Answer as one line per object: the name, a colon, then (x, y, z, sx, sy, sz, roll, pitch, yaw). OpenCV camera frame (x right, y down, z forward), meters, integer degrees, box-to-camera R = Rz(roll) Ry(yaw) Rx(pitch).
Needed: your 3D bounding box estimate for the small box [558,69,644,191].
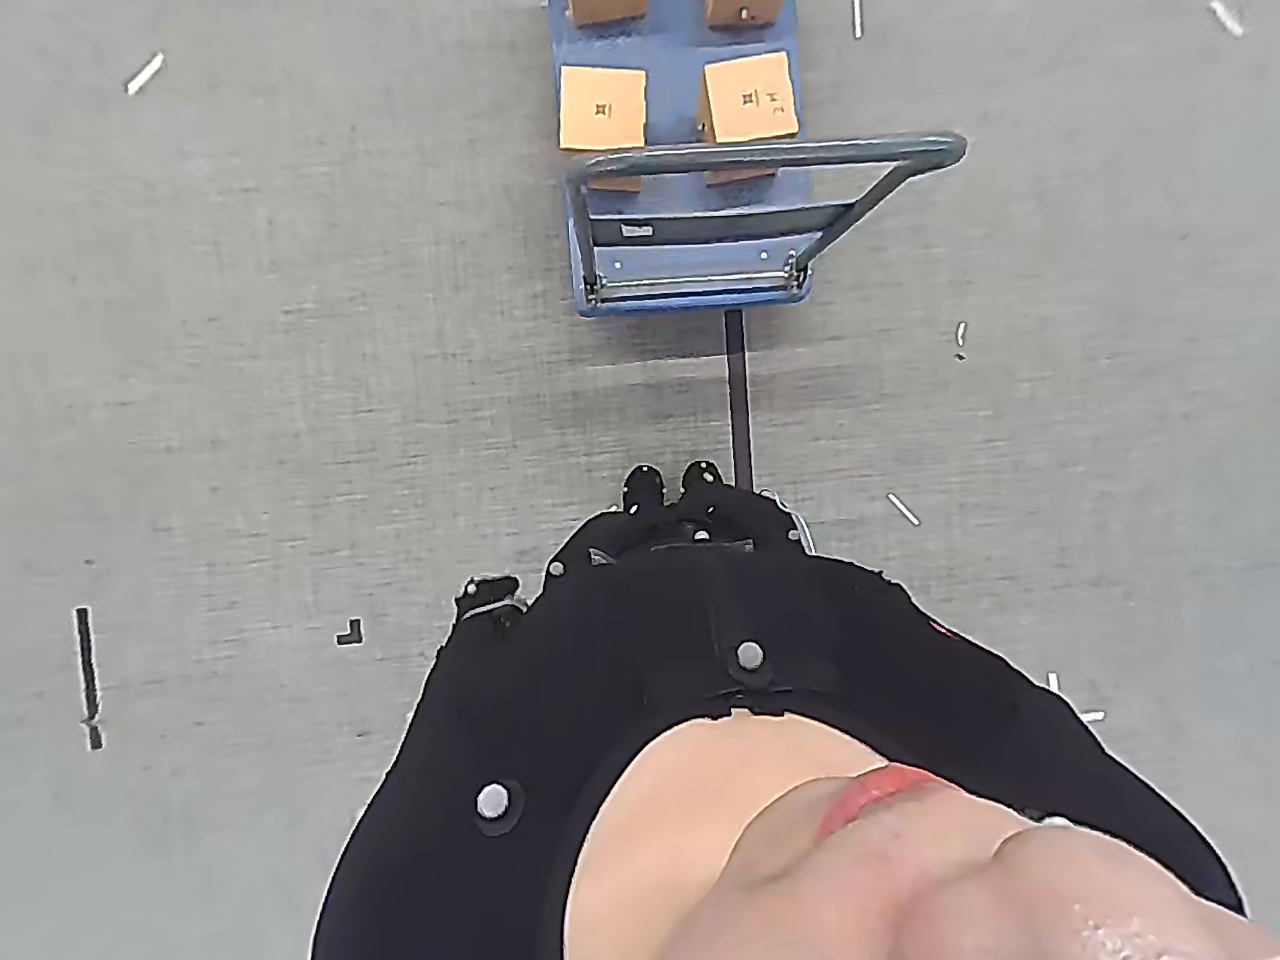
small box: (-0.083, -0.762, 1.193, 0.179, 0.176, 0.168, 1, 92, -3)

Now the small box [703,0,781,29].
small box: (0.227, -1.141, 1.180, 0.168, 0.176, 0.179, -5, 94, -1)

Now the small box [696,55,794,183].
small box: (0.223, -0.789, 1.200, 0.179, 0.176, 0.168, -10, 94, -1)
